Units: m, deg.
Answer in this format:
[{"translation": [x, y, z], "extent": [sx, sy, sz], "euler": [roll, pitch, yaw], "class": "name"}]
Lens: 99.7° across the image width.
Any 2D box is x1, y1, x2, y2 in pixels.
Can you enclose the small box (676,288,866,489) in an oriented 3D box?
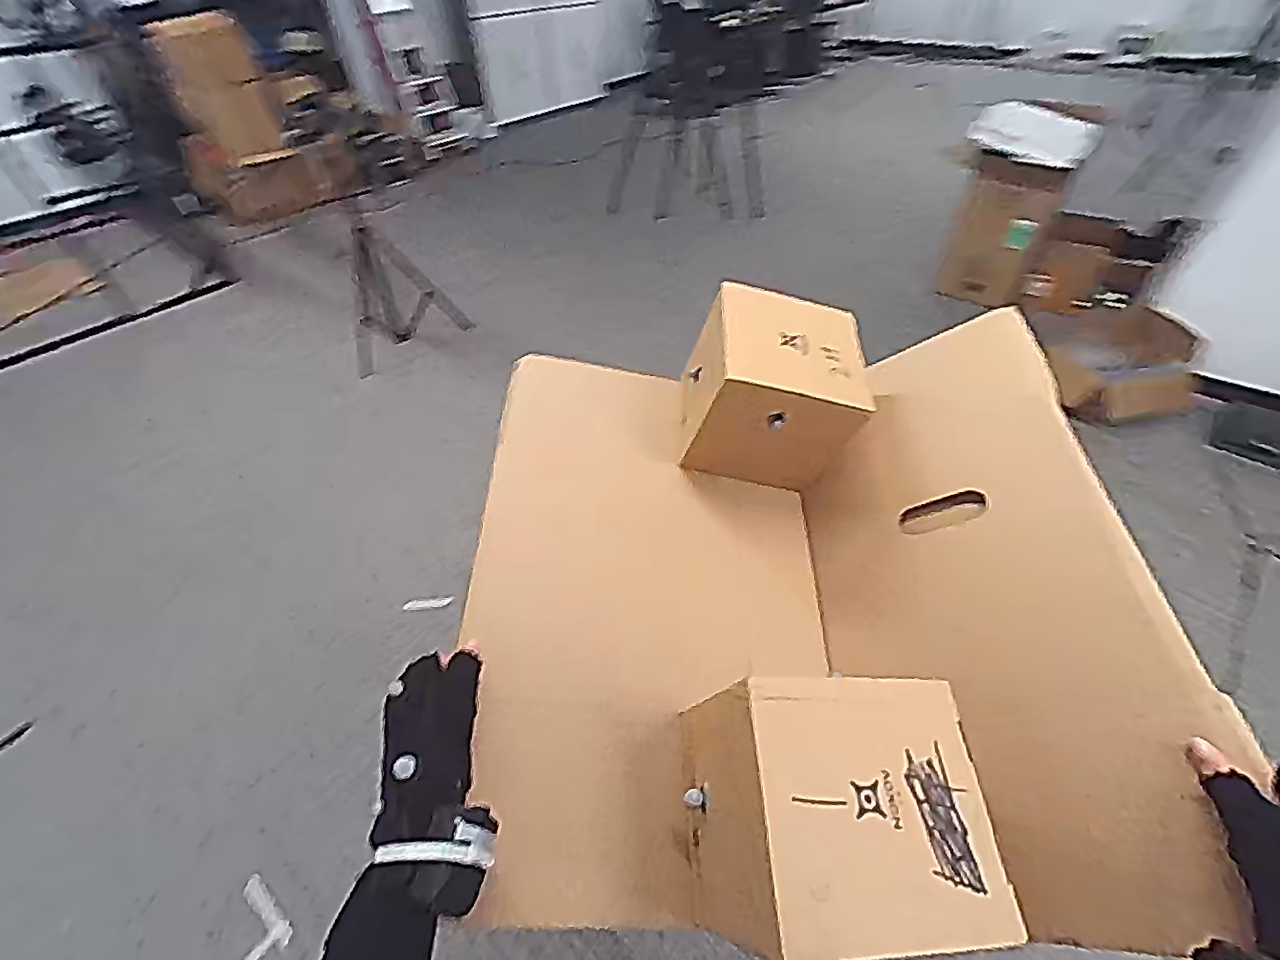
[{"translation": [0.151, -0.107, 0.688], "extent": [0.179, 0.176, 0.168], "euler": [12, 55, -10], "class": "small box"}]
